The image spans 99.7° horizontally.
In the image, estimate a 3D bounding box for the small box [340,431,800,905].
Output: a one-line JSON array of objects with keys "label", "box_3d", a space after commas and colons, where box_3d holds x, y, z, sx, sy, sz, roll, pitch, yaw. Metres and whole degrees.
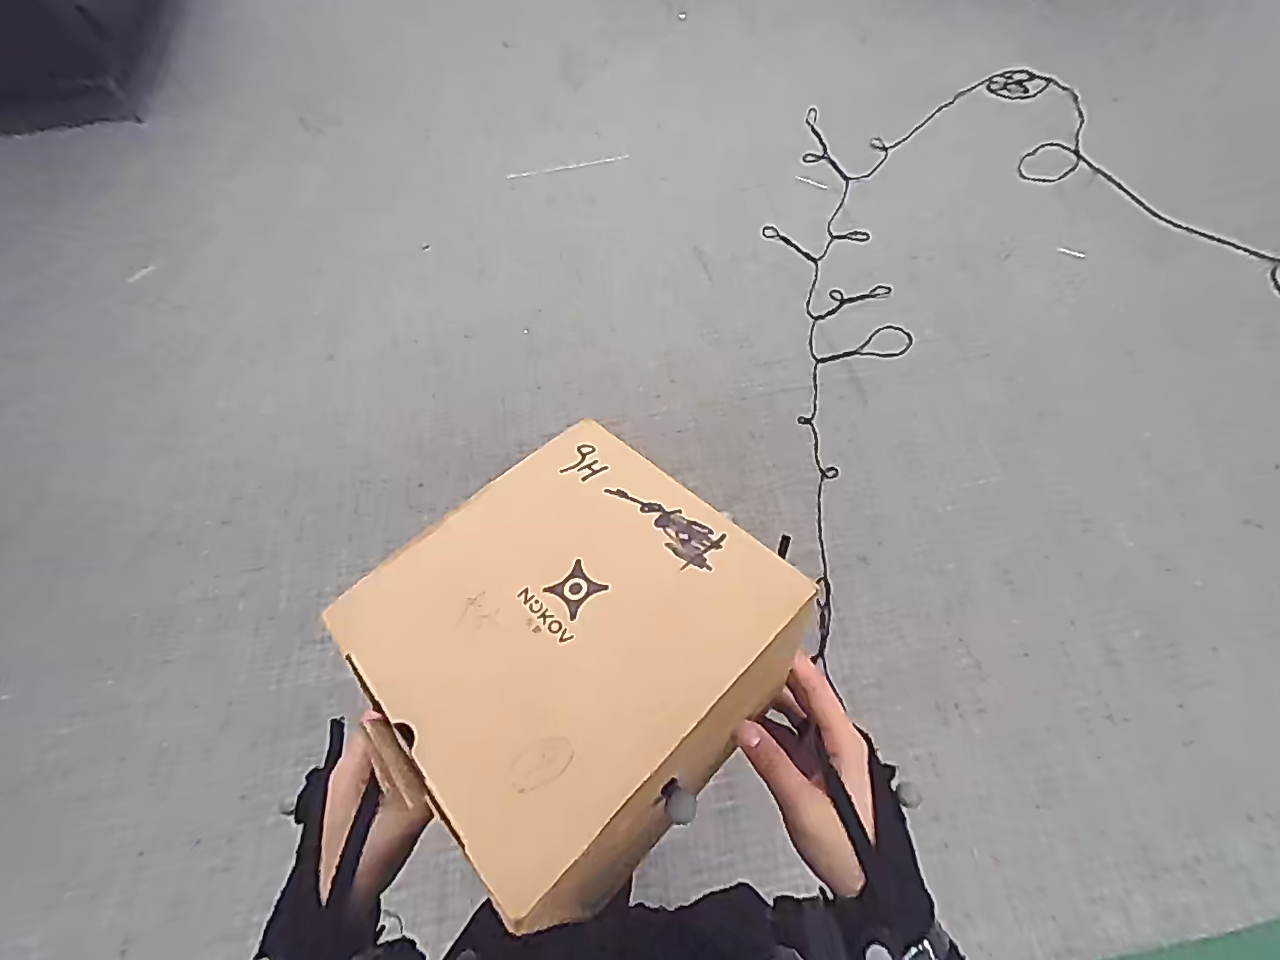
[{"label": "small box", "box_3d": [-0.029, 0.111, 0.328, 0.179, 0.176, 0.168, -40, 58, -22]}]
